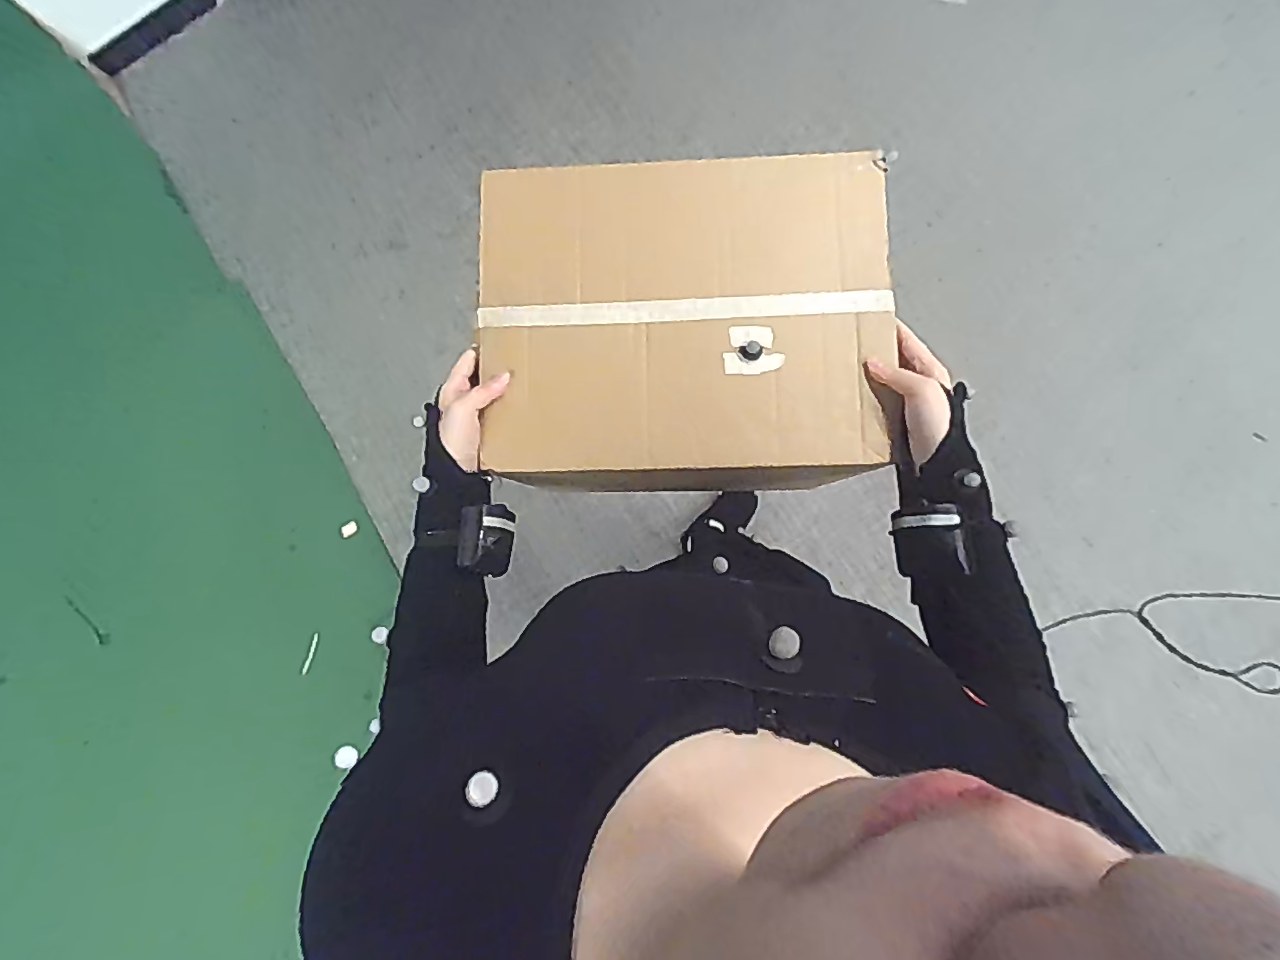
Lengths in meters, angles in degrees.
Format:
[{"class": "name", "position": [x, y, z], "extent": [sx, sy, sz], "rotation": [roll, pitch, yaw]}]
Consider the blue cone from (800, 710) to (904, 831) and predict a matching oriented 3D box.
[{"class": "blue cone", "position": [0.520, 0.684, 1.231], "extent": [0.192, 0.380, 0.193], "rotation": [-24, 81, 2]}]

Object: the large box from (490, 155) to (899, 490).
[{"class": "large box", "position": [0.050, -0.158, 0.685], "extent": [0.408, 0.320, 0.320], "rotation": [-1, 85, 1]}]
